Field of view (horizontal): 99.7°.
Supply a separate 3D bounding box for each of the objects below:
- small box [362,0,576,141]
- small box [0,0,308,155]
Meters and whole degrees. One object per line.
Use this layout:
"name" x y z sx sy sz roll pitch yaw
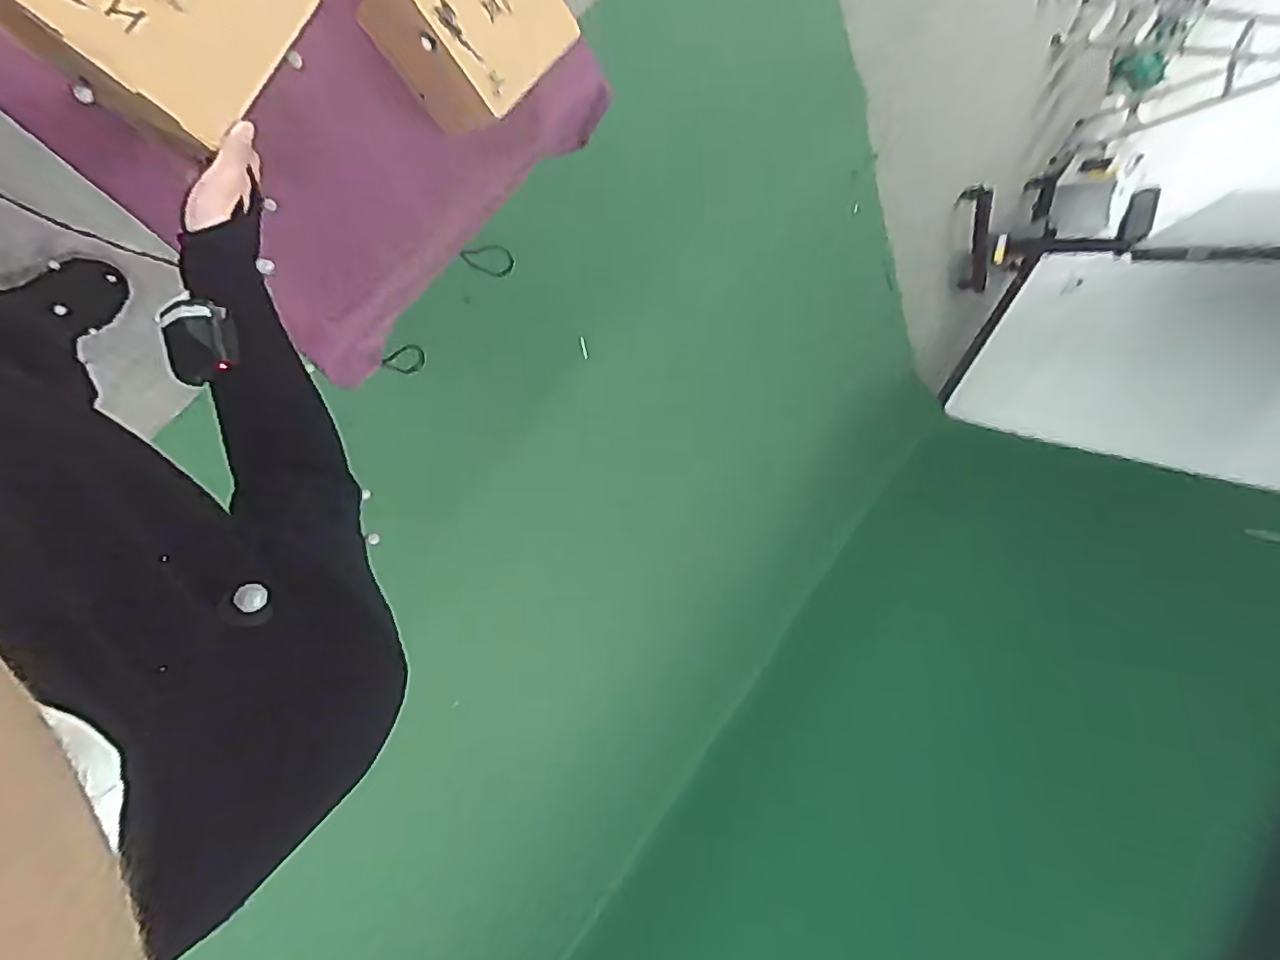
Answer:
"small box" -0.224 -0.580 0.699 0.179 0.176 0.168 -53 132 -11
"small box" -0.440 -0.421 0.473 0.168 0.176 0.179 34 83 -50
